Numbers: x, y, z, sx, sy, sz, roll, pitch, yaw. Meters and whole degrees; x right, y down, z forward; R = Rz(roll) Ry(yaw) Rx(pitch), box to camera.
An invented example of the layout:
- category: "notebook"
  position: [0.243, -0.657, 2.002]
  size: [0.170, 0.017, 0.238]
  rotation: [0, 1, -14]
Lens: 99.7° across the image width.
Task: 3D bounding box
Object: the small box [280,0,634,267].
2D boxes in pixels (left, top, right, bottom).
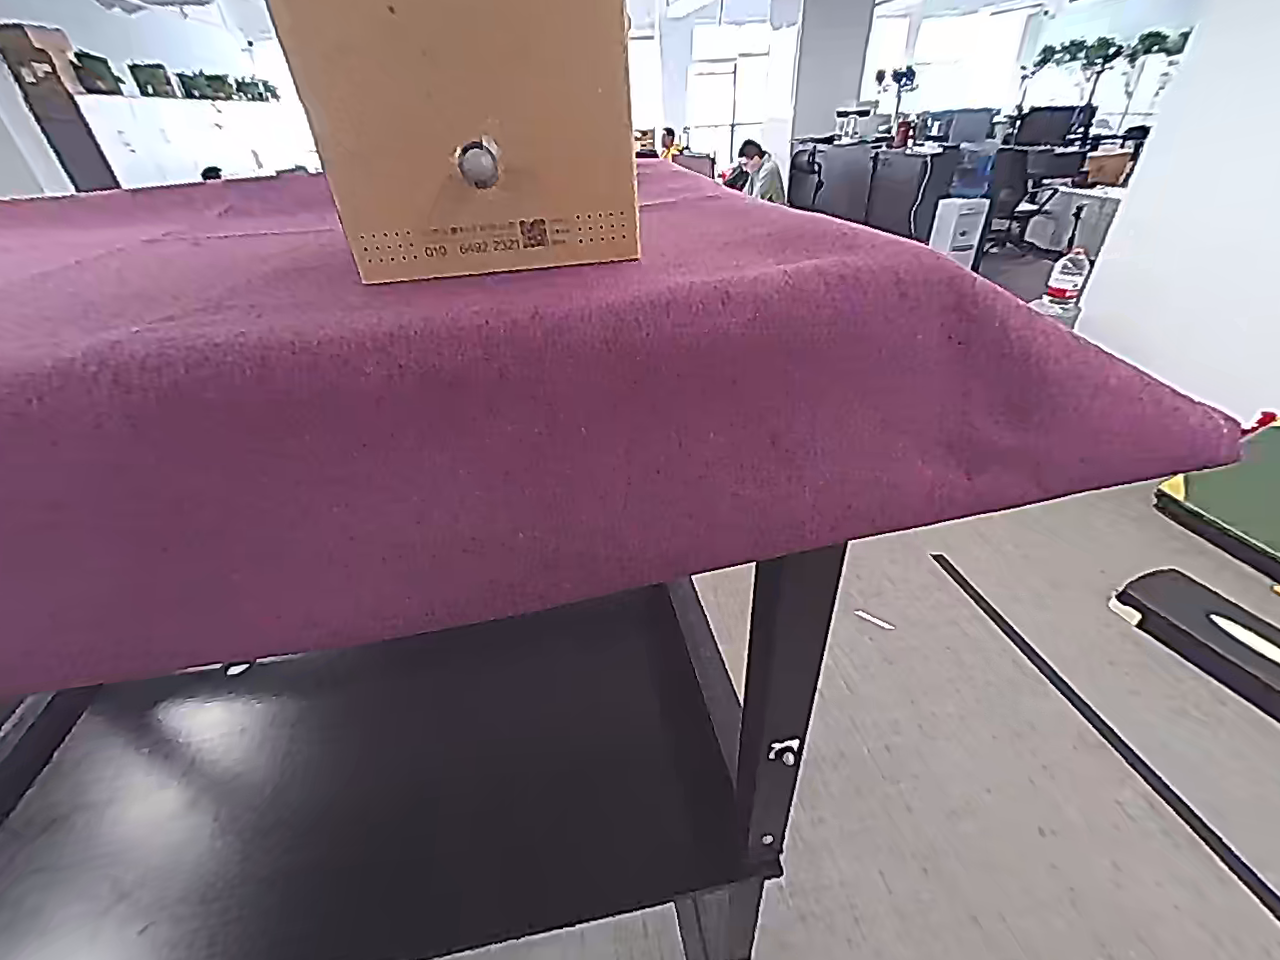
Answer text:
- category: "small box"
  position: [-0.097, -0.240, 0.340]
  size: [0.168, 0.176, 0.179]
  rotation: [-7, 34, -4]
